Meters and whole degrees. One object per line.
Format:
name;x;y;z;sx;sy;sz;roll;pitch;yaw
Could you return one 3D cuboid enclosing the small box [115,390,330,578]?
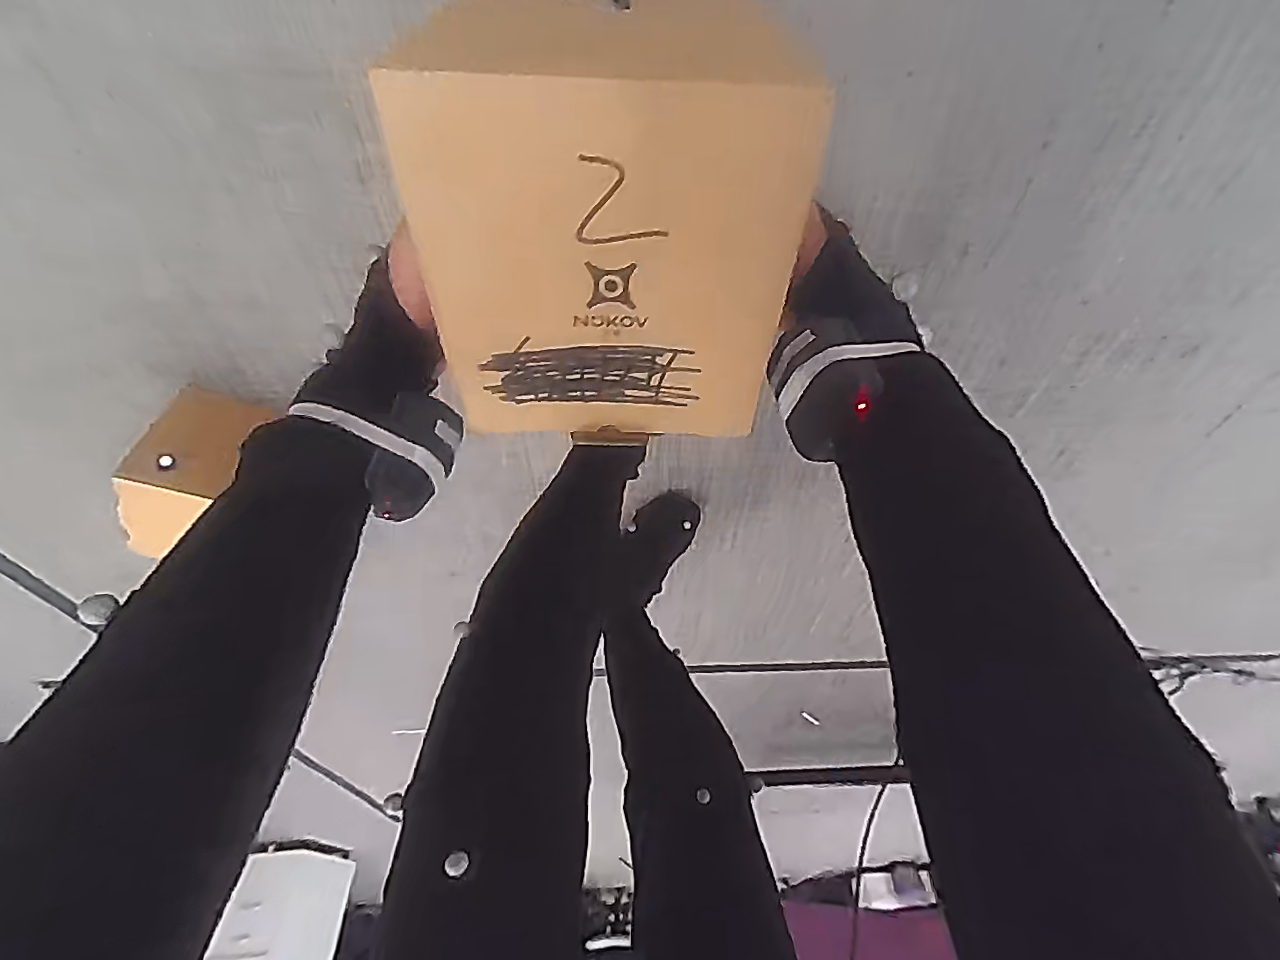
small box;-0.546;0.006;0.734;0.179;0.176;0.168;19;133;-21
